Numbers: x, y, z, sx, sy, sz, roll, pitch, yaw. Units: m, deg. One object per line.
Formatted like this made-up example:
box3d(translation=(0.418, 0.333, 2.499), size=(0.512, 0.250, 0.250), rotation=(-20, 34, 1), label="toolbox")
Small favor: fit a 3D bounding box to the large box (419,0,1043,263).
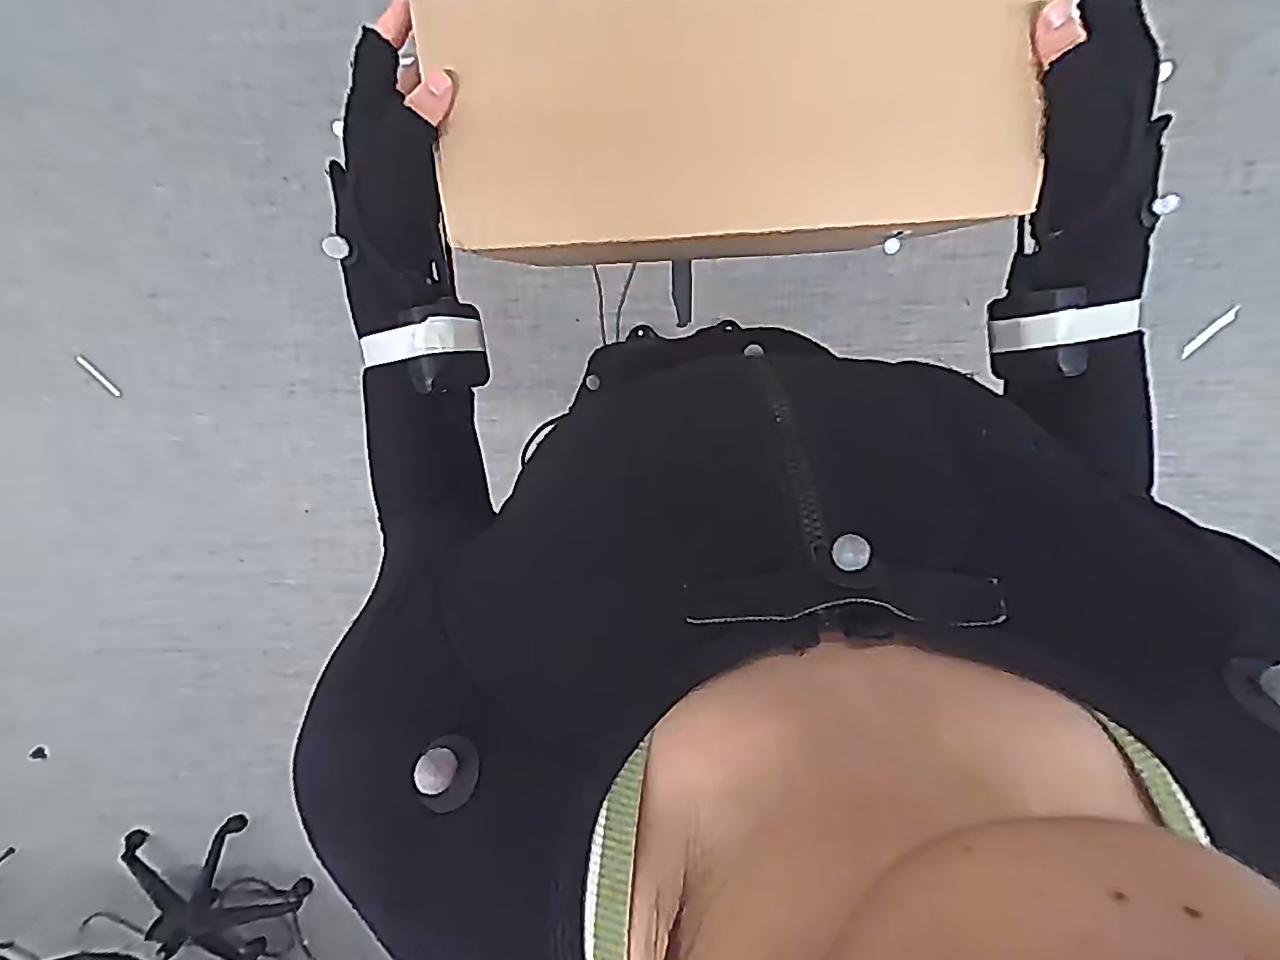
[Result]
box3d(translation=(0.058, -0.371, 0.475), size=(0.408, 0.320, 0.320), rotation=(-3, 109, 1), label="large box")
